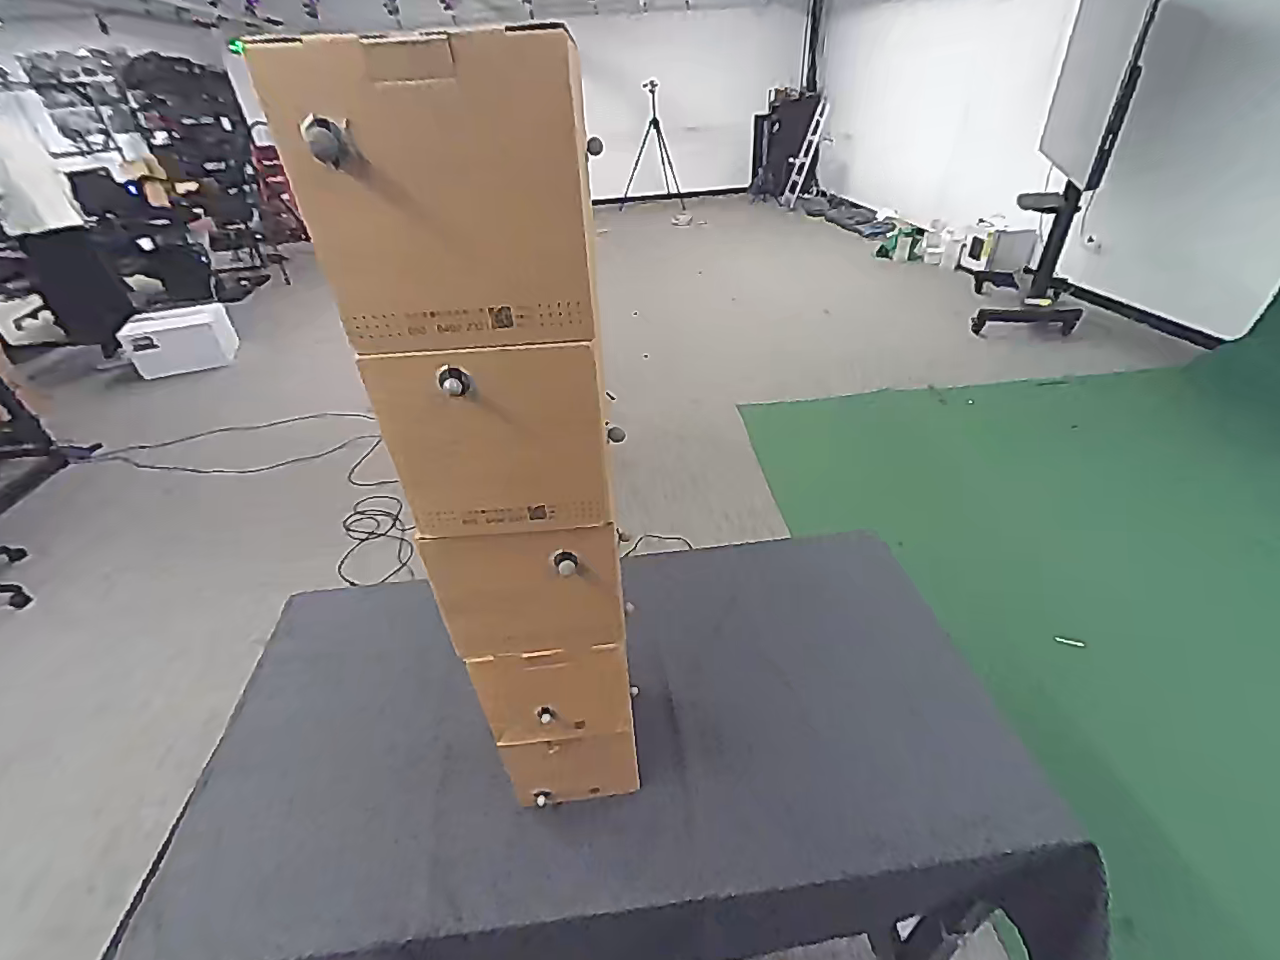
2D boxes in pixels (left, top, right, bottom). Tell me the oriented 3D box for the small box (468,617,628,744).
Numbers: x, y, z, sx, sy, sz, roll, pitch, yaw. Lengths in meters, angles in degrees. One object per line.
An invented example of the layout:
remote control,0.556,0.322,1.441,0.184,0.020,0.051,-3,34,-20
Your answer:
small box,-0.105,0.201,0.684,0.168,0.176,0.179,-6,36,-3

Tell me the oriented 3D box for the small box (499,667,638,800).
small box,-0.096,0.333,0.778,0.168,0.176,0.179,-7,35,-3

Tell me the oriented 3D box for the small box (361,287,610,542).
small box,-0.117,-0.065,0.492,0.168,0.176,0.179,-4,35,-1

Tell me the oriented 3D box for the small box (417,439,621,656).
small box,-0.112,0.069,0.587,0.179,0.176,0.168,-5,35,-2
